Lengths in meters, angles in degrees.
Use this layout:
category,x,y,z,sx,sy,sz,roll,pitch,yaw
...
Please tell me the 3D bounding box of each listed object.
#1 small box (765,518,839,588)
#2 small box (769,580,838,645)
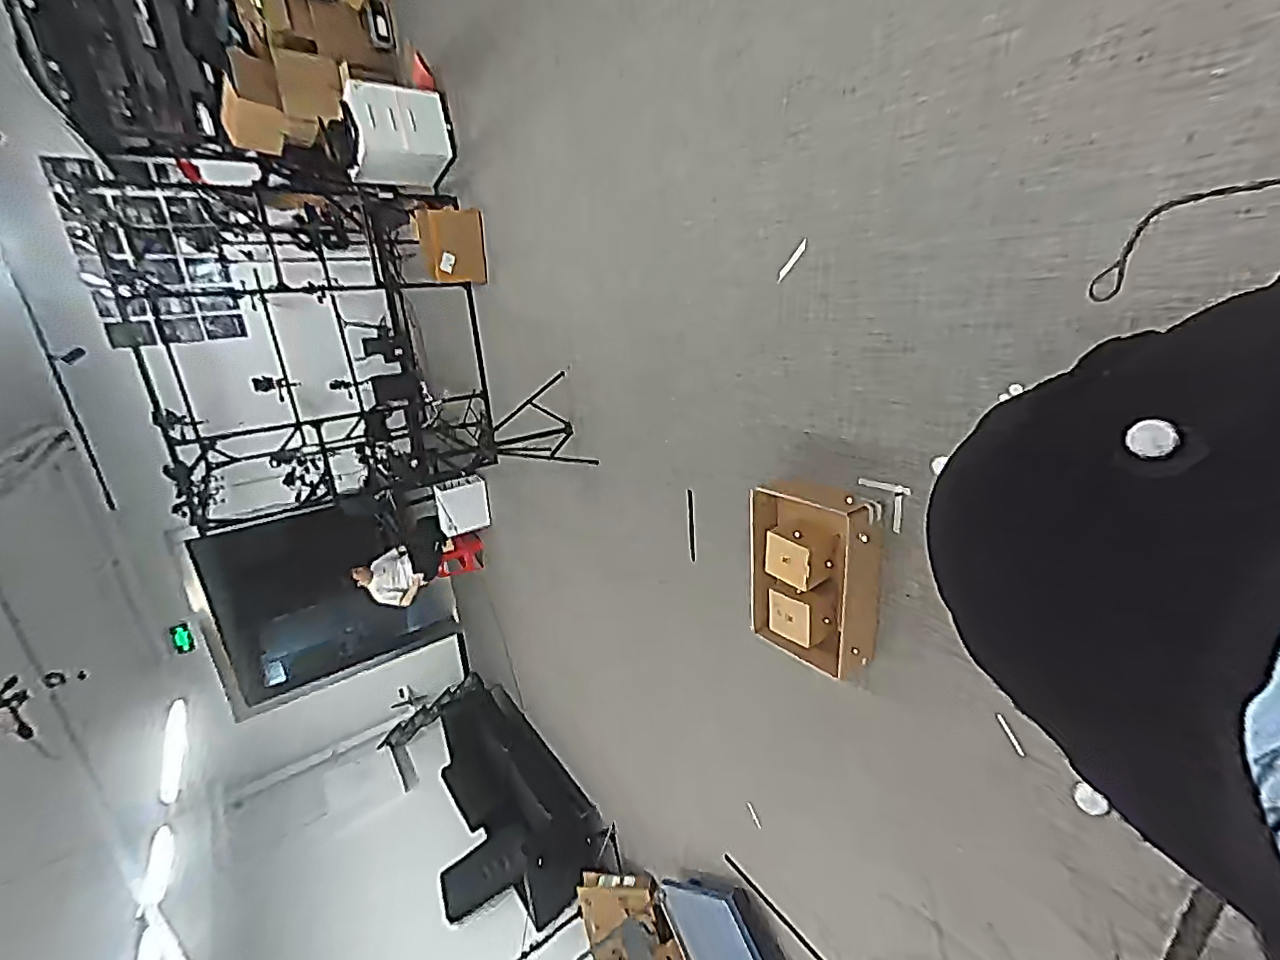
category,x,y,z,sx,sy,sz,roll,pitch,yaw
small box,0.560,0.244,1.876,0.179,0.176,0.168,27,126,48
small box,0.584,0.454,1.929,0.179,0.176,0.168,18,117,52
